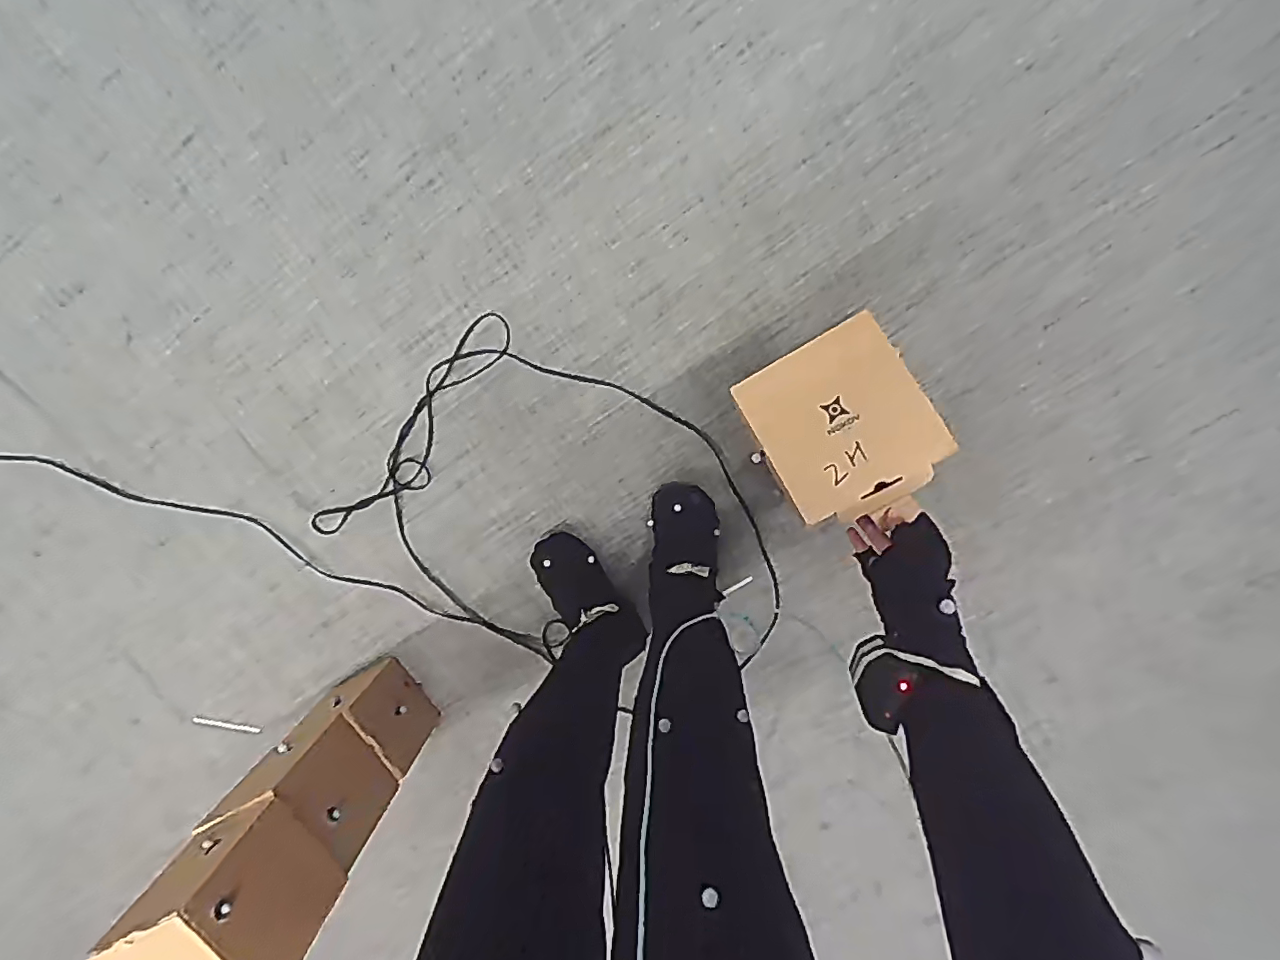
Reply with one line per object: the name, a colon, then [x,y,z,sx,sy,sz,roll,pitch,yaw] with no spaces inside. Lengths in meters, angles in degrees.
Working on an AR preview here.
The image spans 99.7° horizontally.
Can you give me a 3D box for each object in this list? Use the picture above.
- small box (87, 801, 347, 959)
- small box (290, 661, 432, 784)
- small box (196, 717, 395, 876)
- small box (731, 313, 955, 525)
small box: [-0.540,0.579,0.721,0.168,0.176,0.179,-30,102,10]
small box: [-0.526,0.482,1.033,0.179,0.176,0.168,-30,102,10]
small box: [-0.539,0.529,0.876,0.168,0.176,0.179,-29,102,10]
small box: [0.224,-0.056,0.639,0.168,0.176,0.179,-29,78,11]
